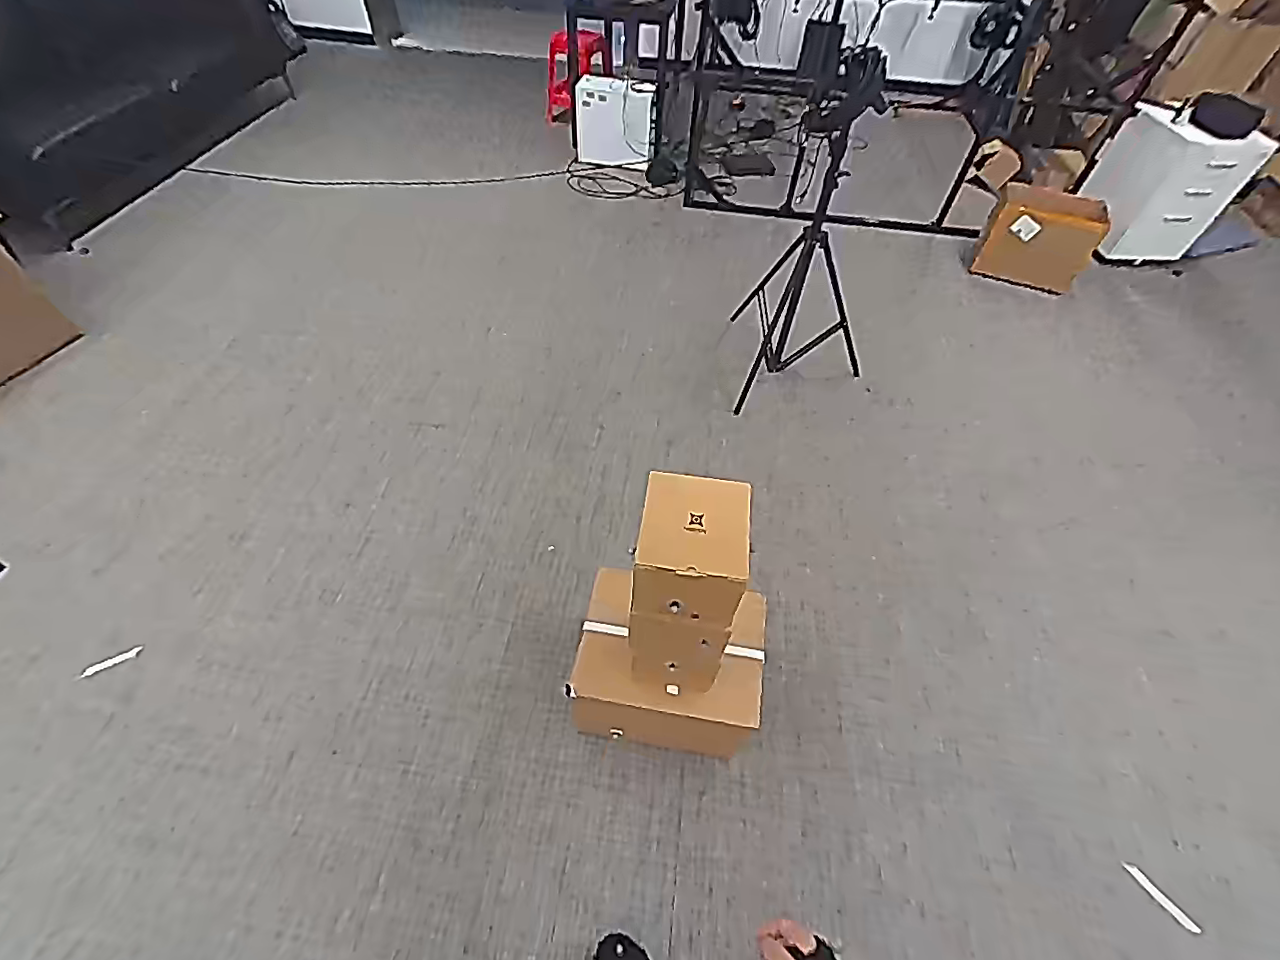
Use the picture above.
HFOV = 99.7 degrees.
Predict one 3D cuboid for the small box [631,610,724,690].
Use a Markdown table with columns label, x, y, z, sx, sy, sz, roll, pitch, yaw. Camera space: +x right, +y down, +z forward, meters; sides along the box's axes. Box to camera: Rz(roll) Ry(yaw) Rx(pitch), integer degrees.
| label | x | y | z | sx | sy | sz | roll | pitch | yaw |
| --- | --- | --- | --- | --- | --- | --- | --- | --- | --- |
| small box | 0.078 | 0.327 | 1.134 | 0.179 | 0.176 | 0.168 | 7 | 53 | 2 |

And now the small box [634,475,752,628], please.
| label | x | y | z | sx | sy | sz | roll | pitch | yaw |
| --- | --- | --- | --- | --- | --- | --- | --- | --- | --- |
| small box | 0.083 | 0.118 | 0.882 | 0.168 | 0.176 | 0.179 | 7 | 54 | 3 |
